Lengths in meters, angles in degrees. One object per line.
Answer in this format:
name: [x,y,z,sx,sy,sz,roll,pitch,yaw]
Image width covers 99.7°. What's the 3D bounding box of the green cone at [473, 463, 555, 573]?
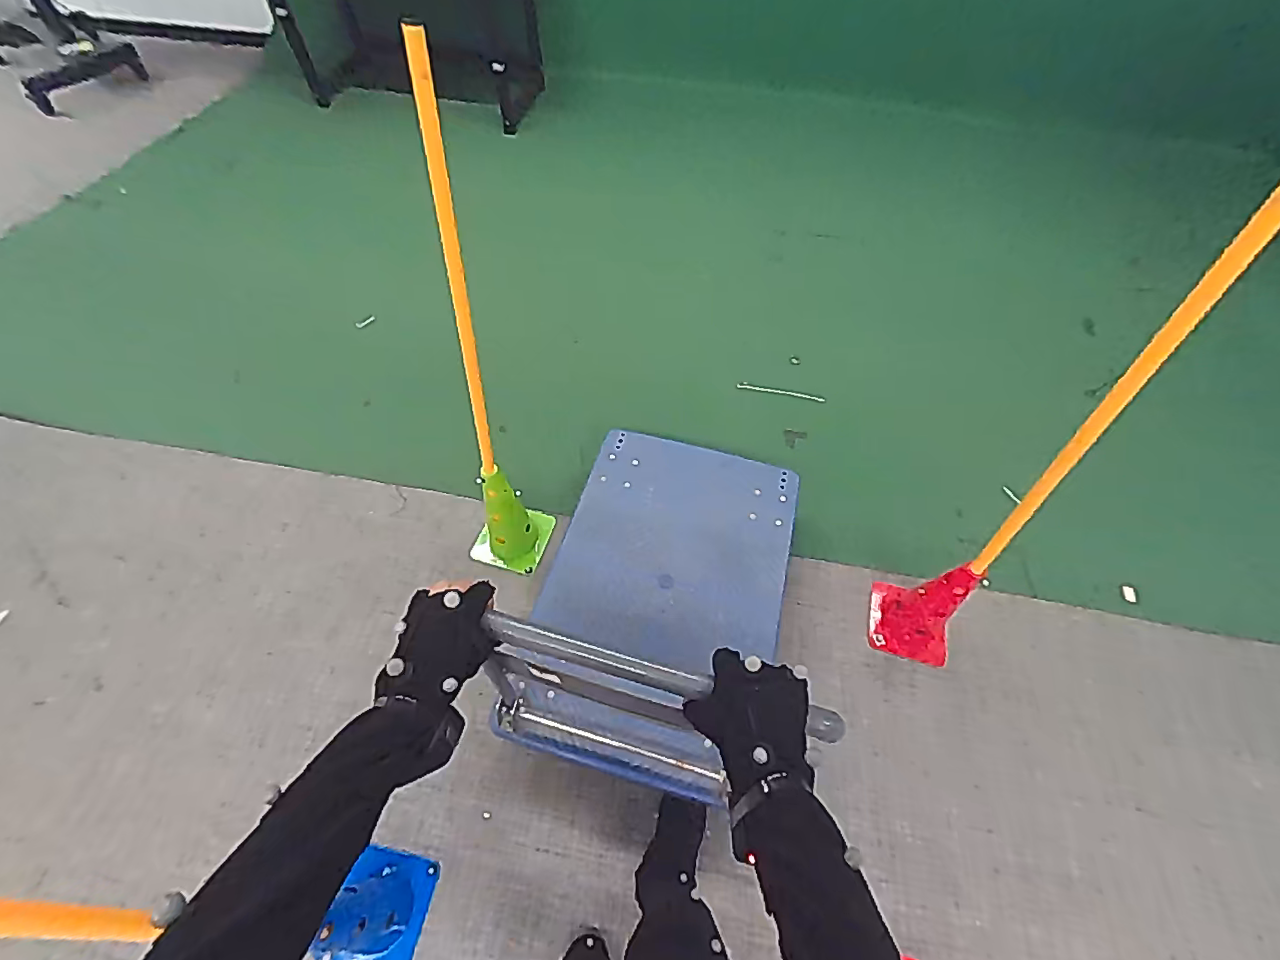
green cone: [-0.370,0.073,1.468,0.202,0.368,0.200,14,56,8]
